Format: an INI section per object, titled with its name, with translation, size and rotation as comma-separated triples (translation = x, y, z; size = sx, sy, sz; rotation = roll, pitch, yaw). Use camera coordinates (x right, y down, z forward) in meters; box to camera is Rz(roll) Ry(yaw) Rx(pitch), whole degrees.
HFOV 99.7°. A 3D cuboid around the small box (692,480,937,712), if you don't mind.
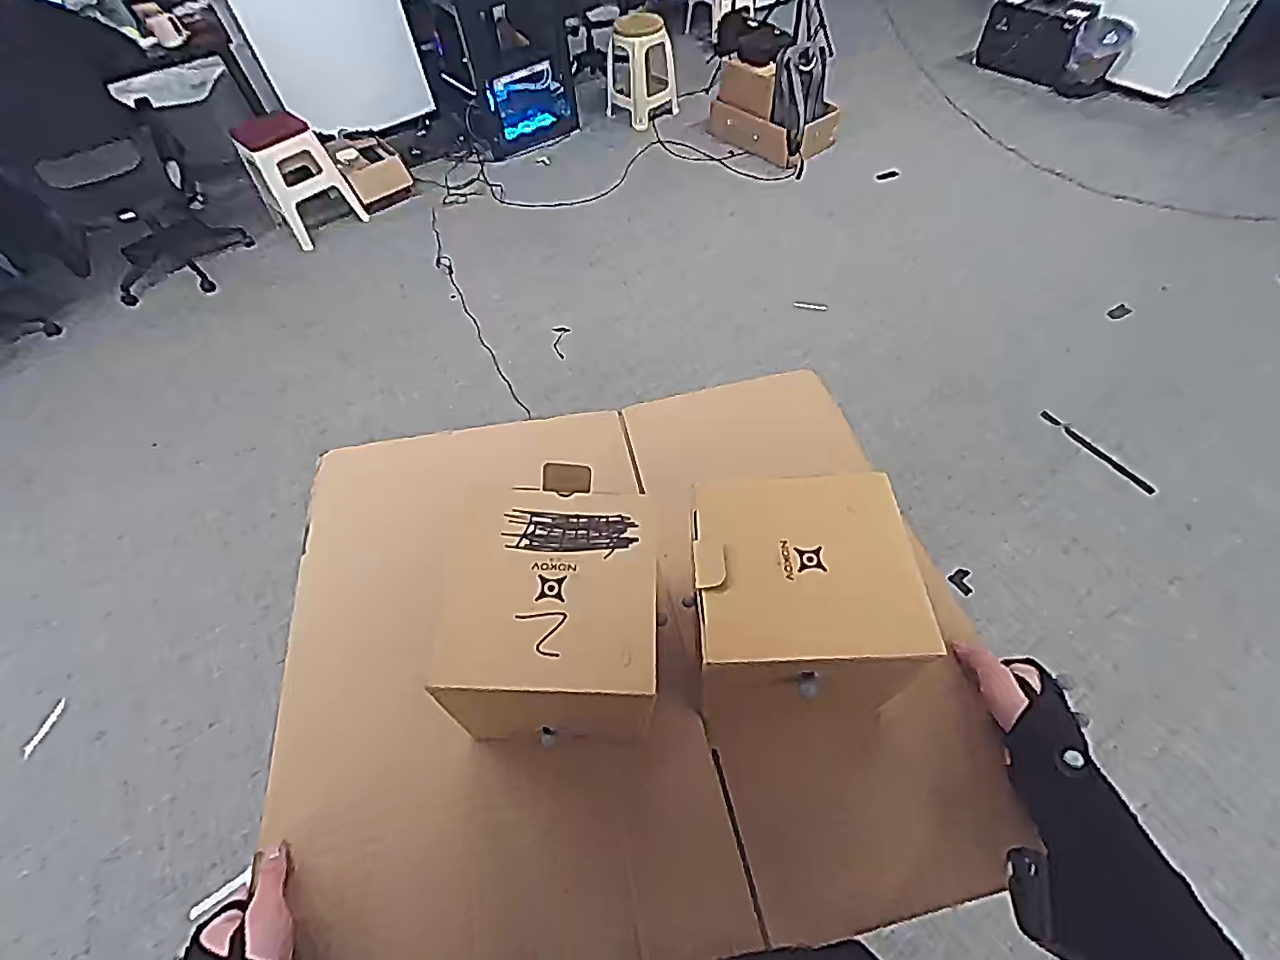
[small box]
translation = 0.142, 0.117, 0.516
size = 0.179, 0.176, 0.168
rotation = -4, 55, 4
